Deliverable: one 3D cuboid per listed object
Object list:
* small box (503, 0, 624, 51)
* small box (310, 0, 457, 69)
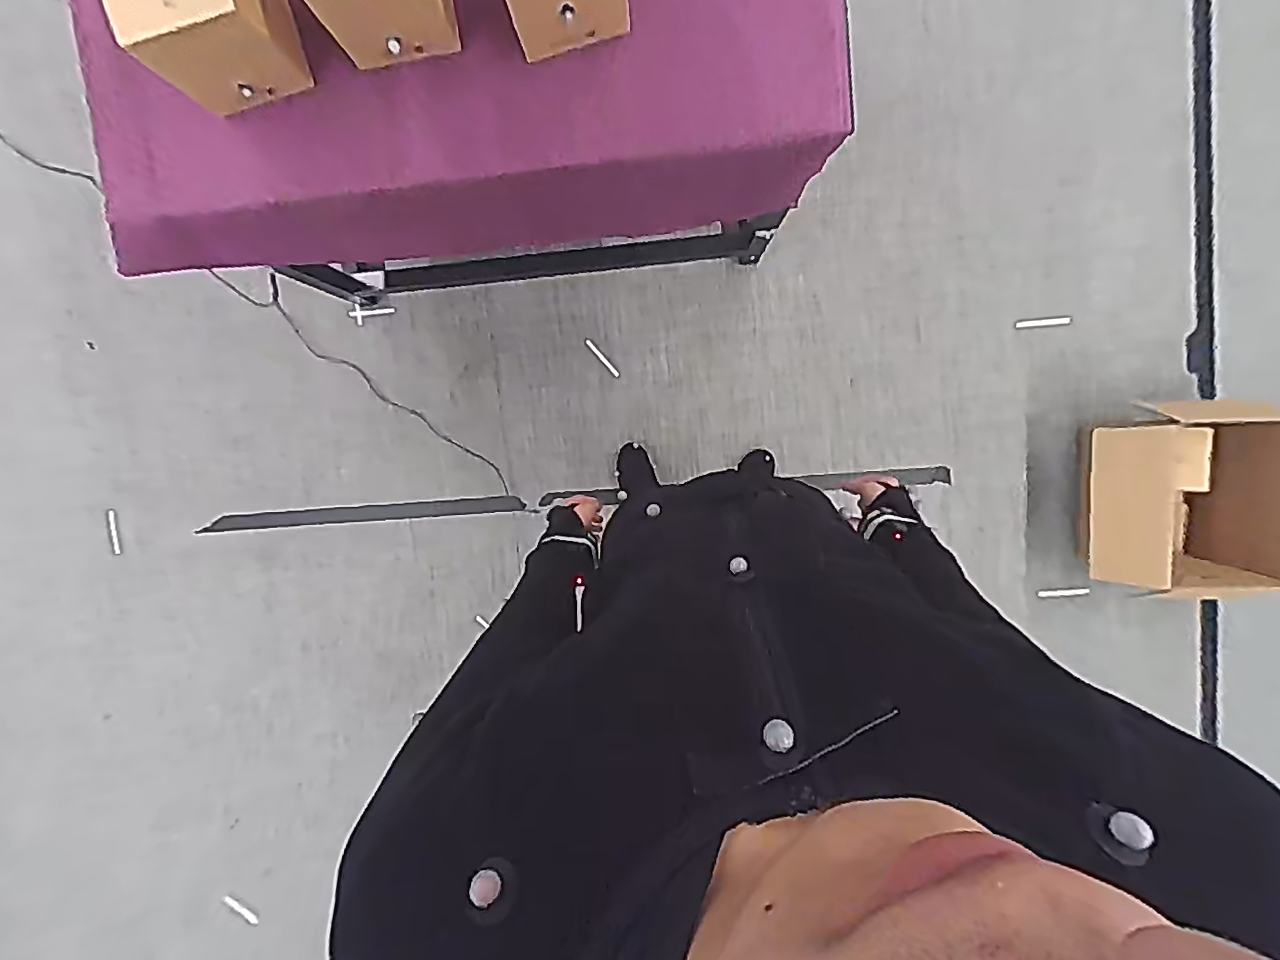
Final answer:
[{"bbox_3d":[-0.122,-0.742,0.746,0.168,0.176,0.179,-15,95,3],"label":"small box"},{"bbox_3d":[-0.376,-0.730,0.755,0.168,0.176,0.179,-9,96,3],"label":"small box"}]
